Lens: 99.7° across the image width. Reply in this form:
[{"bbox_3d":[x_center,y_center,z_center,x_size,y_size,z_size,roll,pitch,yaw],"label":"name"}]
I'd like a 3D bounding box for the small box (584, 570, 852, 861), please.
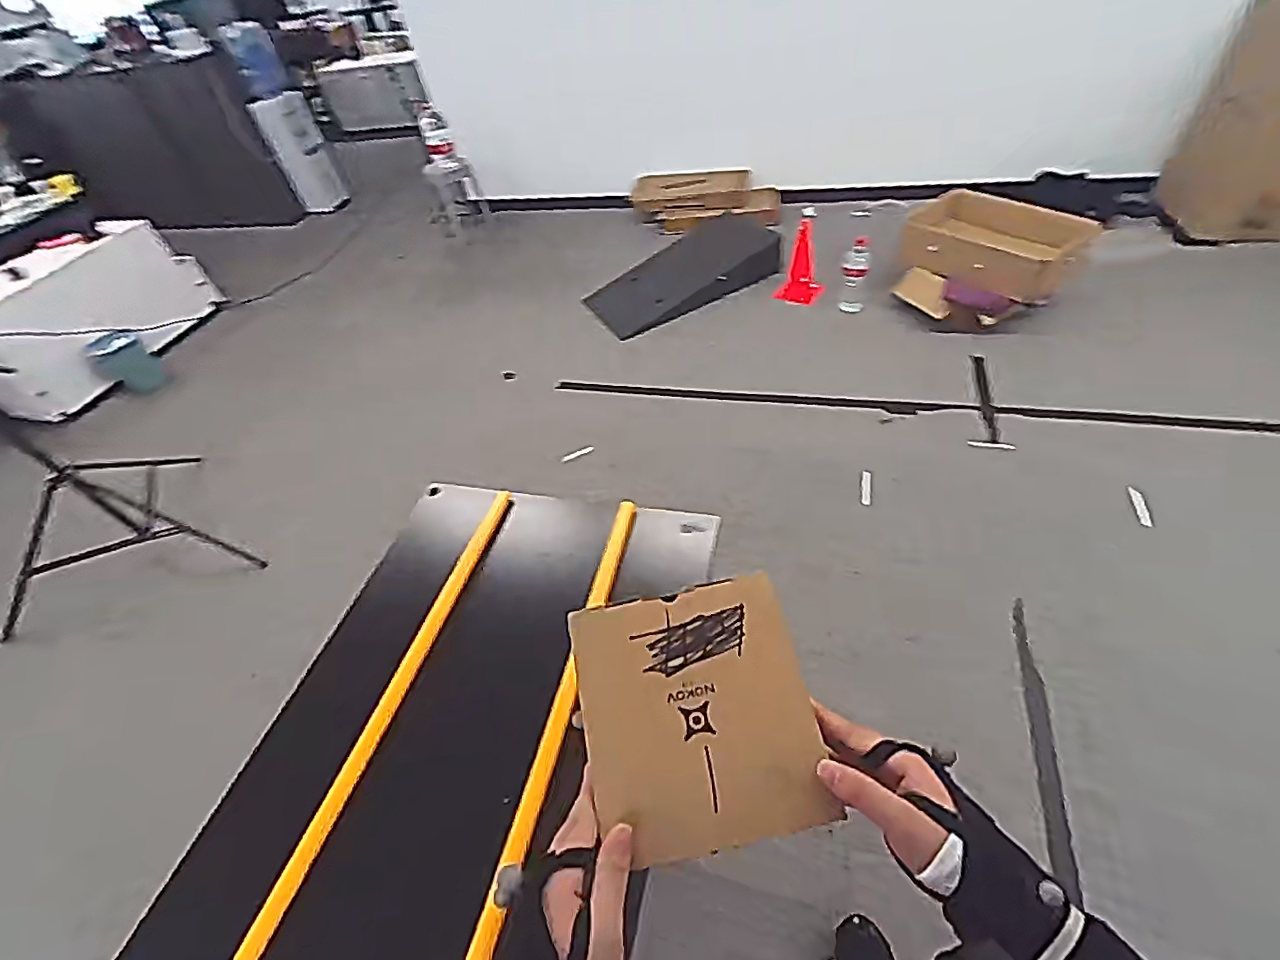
[{"bbox_3d":[0.051,0.198,0.466,0.168,0.176,0.179,-11,63,-2],"label":"small box"}]
